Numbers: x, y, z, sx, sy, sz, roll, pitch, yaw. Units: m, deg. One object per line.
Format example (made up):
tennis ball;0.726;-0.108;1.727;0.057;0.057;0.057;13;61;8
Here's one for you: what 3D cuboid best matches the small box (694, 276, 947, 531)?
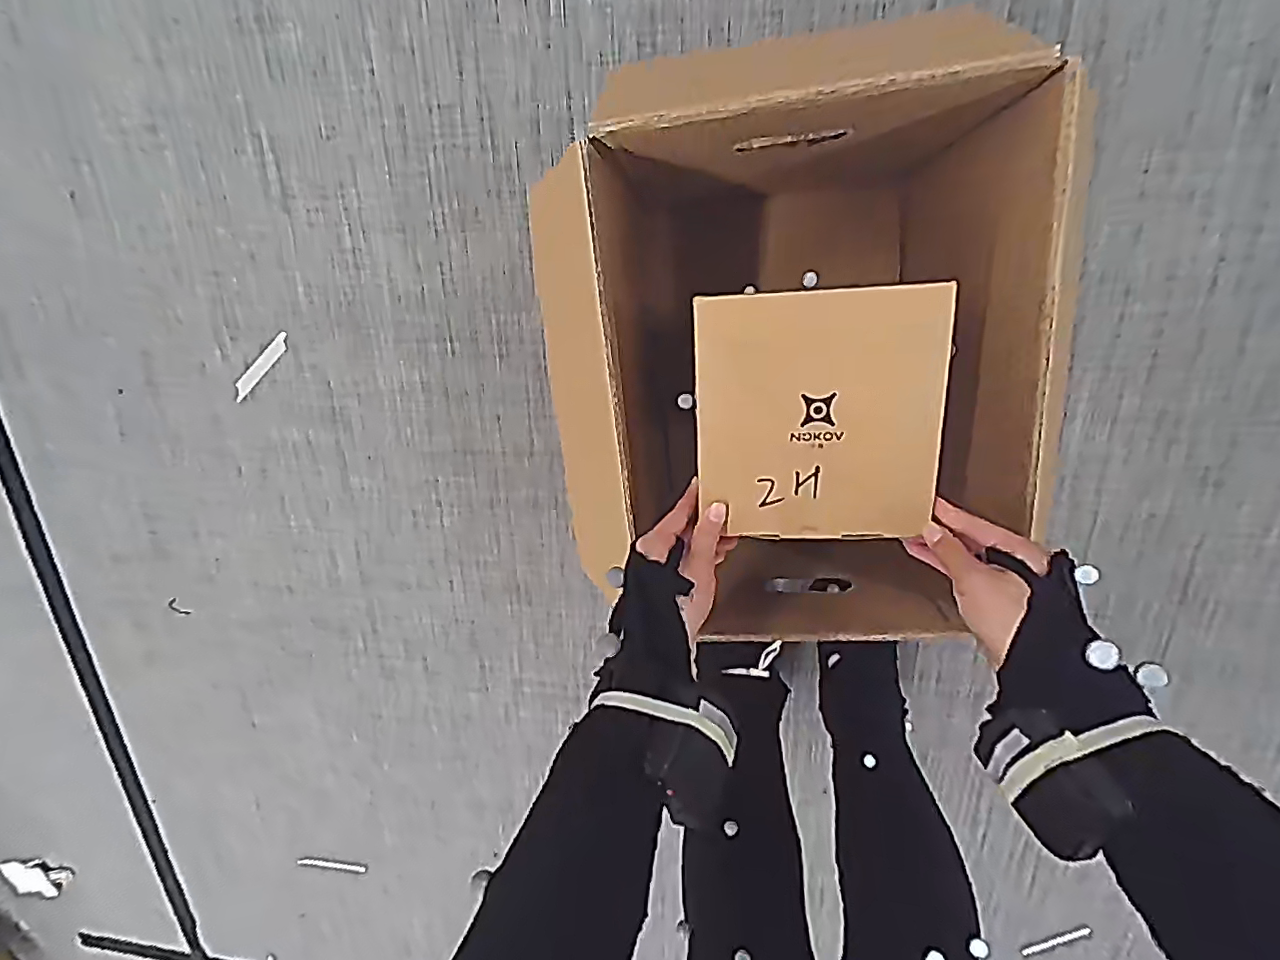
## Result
small box;0.130;-0.069;0.453;0.168;0.176;0.179;0;108;8
